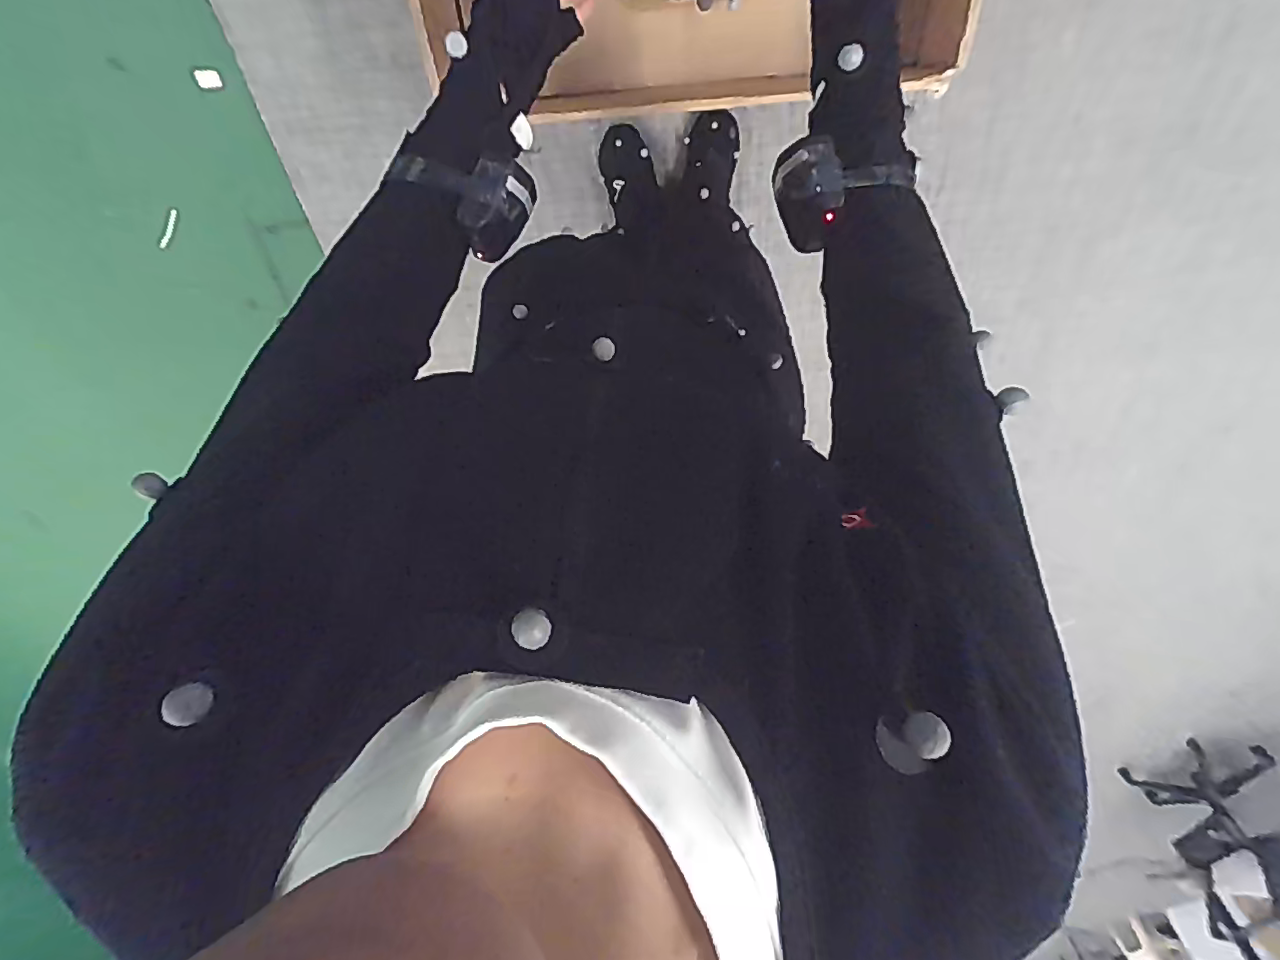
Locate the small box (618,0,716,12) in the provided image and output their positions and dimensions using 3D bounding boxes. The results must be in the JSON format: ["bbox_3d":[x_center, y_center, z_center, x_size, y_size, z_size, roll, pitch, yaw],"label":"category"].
[{"bbox_3d":[0.056,-0.516,0.451,0.168,0.176,0.179,-4,129,5],"label":"small box"}]

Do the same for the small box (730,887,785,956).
[{"bbox_3d":[0.424,1.595,1.957,0.179,0.176,0.168,-6,128,9],"label":"small box"}]
